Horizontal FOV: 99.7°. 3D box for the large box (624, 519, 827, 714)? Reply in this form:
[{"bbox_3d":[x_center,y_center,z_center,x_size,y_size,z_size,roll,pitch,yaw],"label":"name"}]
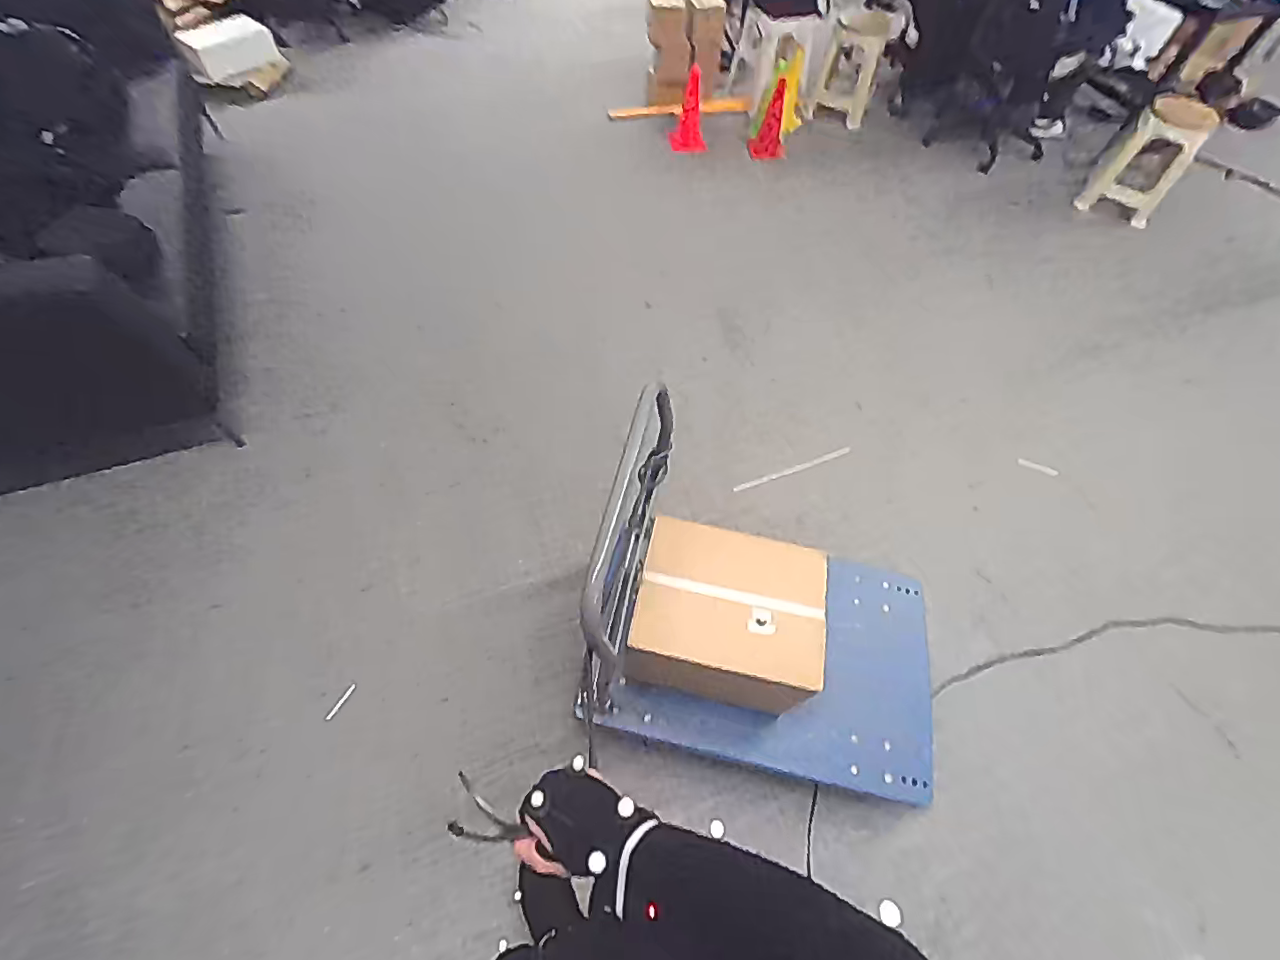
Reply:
[{"bbox_3d":[0.191,0.332,1.284,0.408,0.320,0.320,12,59,3],"label":"large box"}]
